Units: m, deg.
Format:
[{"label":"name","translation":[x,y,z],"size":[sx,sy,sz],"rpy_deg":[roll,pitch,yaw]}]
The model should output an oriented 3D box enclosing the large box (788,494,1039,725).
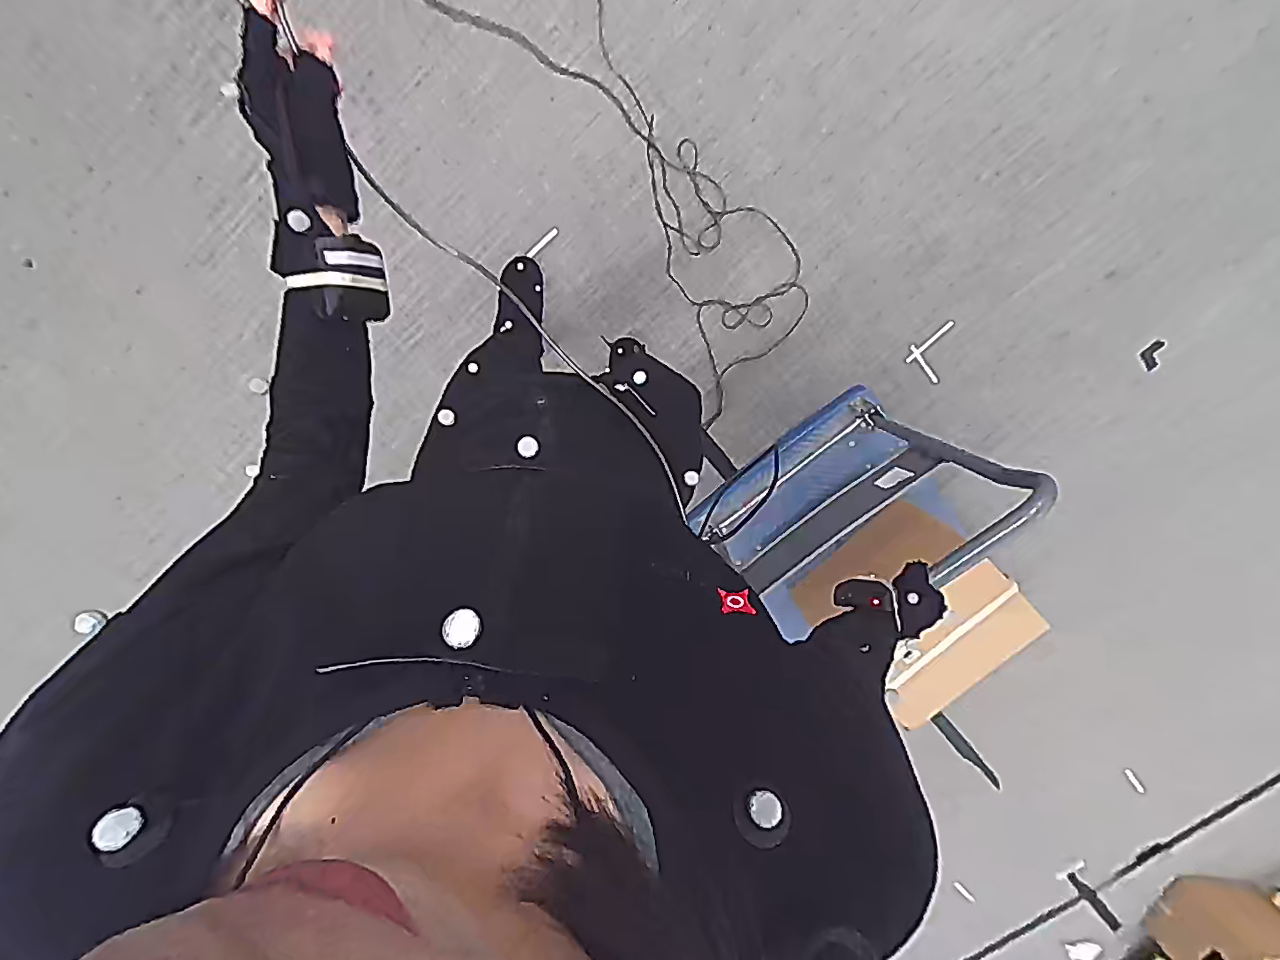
[{"label":"large box","translation":[0.661,0.311,1.368],"size":[0.320,0.320,0.408],"rpy_deg":[41,103,-15]}]
